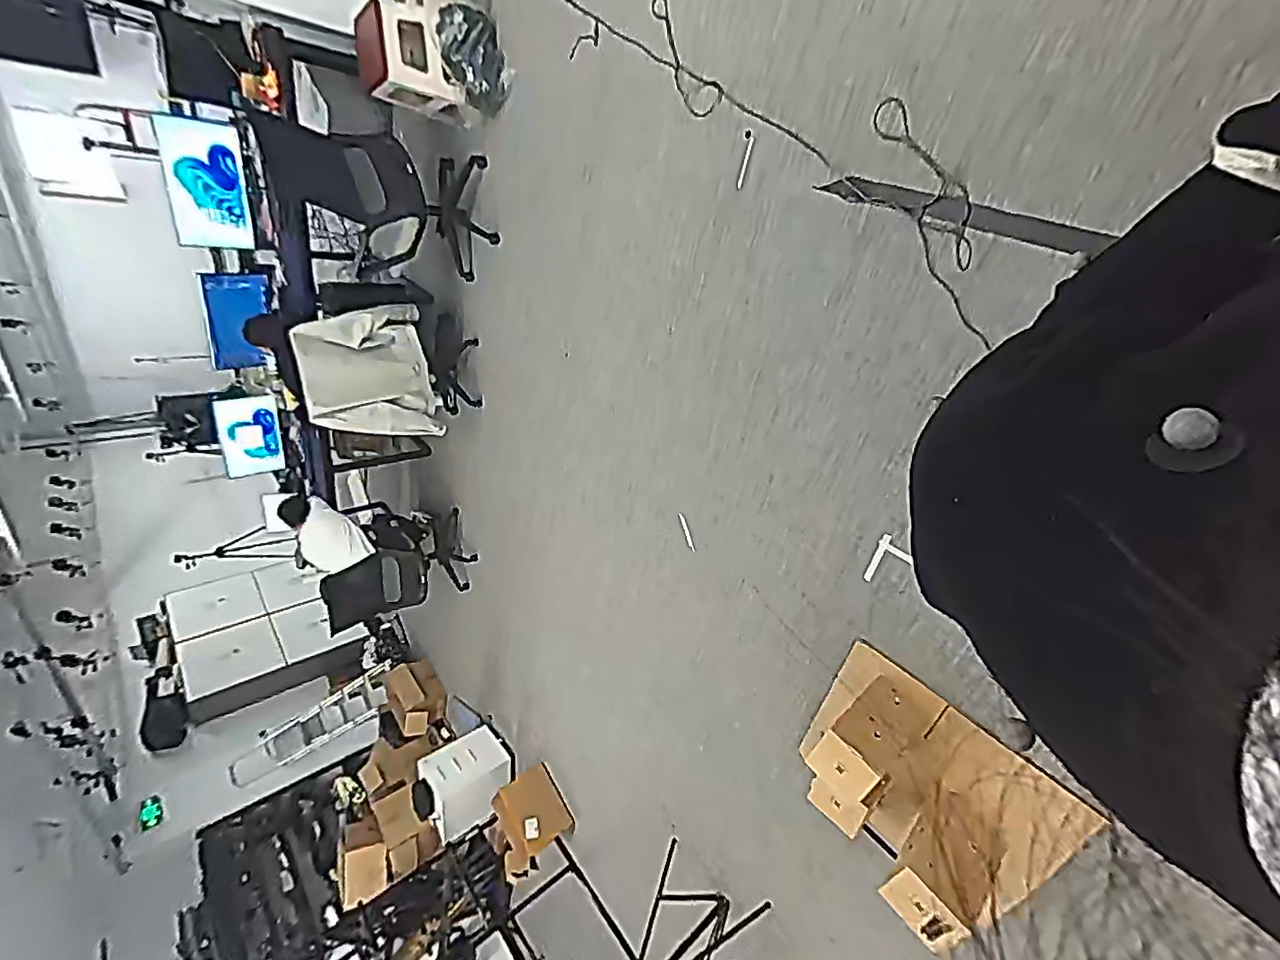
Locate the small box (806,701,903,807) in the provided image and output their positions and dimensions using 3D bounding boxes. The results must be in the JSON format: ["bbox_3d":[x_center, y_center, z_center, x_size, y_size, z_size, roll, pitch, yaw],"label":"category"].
[{"bbox_3d":[0.612,0.773,1.535,0.168,0.176,0.179,40,128,33],"label":"small box"}]

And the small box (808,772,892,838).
[{"bbox_3d":[0.690,1.012,1.780,0.179,0.176,0.168,33,126,39],"label":"small box"}]

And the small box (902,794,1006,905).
[{"bbox_3d":[0.901,1.052,1.548,0.179,0.176,0.168,44,131,29],"label":"small box"}]
